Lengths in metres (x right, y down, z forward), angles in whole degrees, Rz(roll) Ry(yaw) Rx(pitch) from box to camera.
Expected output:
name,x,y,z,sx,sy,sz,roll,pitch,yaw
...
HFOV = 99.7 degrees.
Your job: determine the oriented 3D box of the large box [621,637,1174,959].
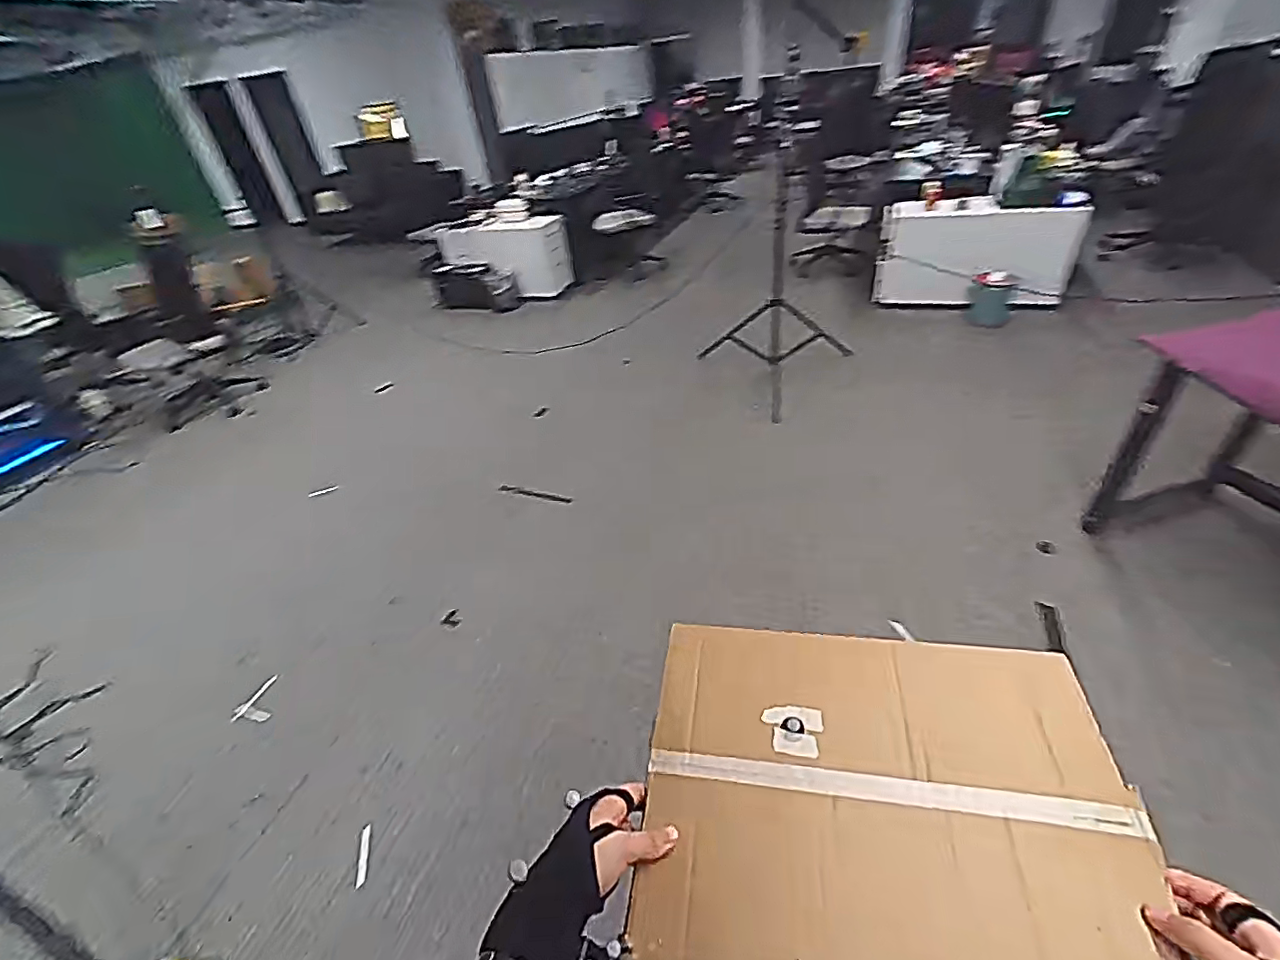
name,x,y,z,sx,sy,sz,roll,pitch,yaw
large box,0.226,0.394,0.589,0.408,0.320,0.320,-1,41,13
